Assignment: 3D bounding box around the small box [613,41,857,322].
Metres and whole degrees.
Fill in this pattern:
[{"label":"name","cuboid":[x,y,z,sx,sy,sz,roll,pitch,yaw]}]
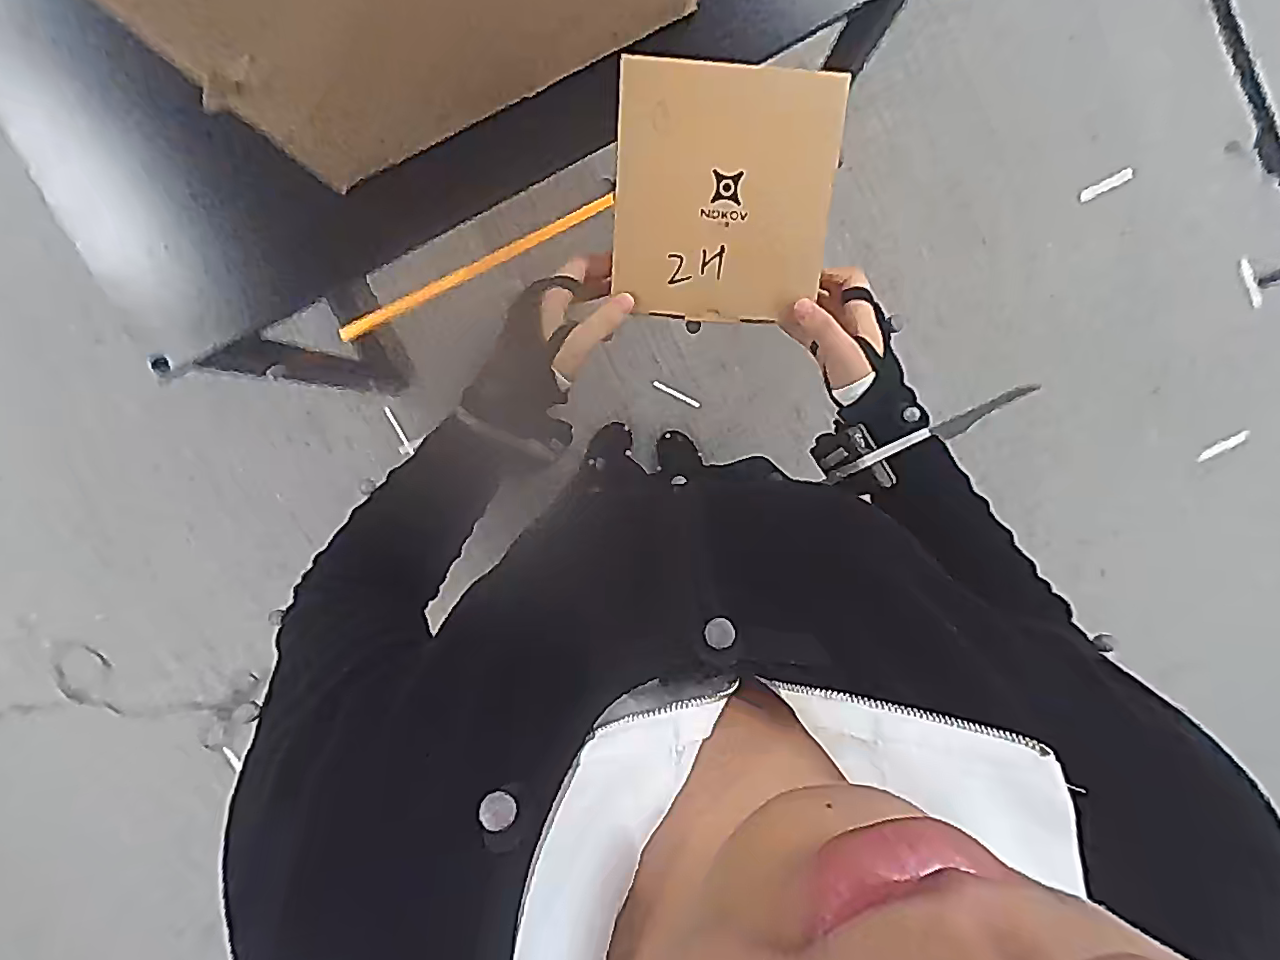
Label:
[{"label":"small box","cuboid":[0.064,-0.239,0.477,0.168,0.176,0.179,4,109,-2]}]
